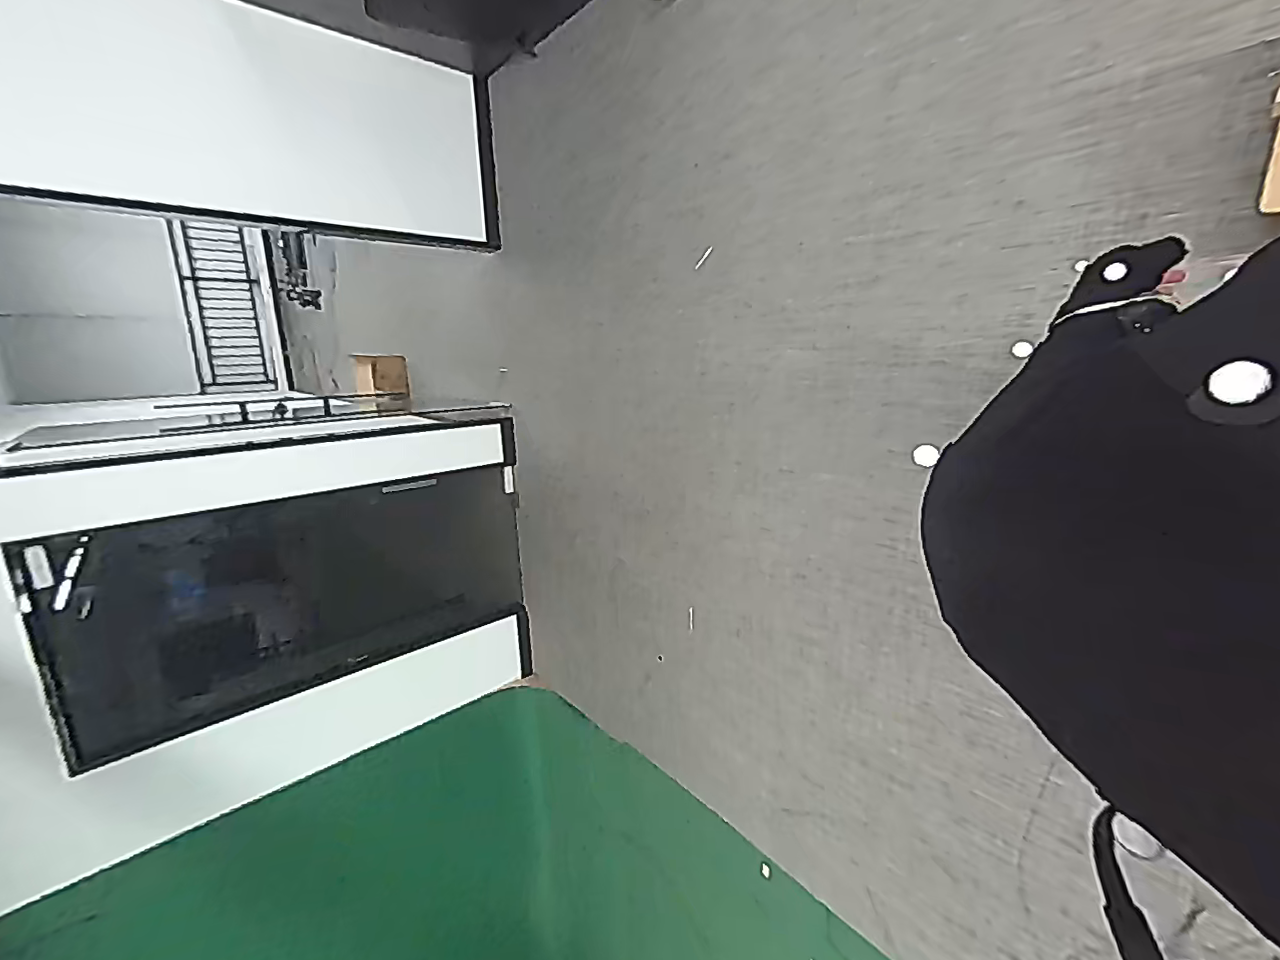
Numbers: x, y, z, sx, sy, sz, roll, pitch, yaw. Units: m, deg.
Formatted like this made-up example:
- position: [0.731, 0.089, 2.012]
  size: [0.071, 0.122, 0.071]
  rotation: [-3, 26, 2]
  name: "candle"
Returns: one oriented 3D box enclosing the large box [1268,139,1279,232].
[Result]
- position: [1.126, -0.529, 0.682]
  size: [0.408, 0.320, 0.320]
  rotation: [15, 111, 47]
  name: "large box"
